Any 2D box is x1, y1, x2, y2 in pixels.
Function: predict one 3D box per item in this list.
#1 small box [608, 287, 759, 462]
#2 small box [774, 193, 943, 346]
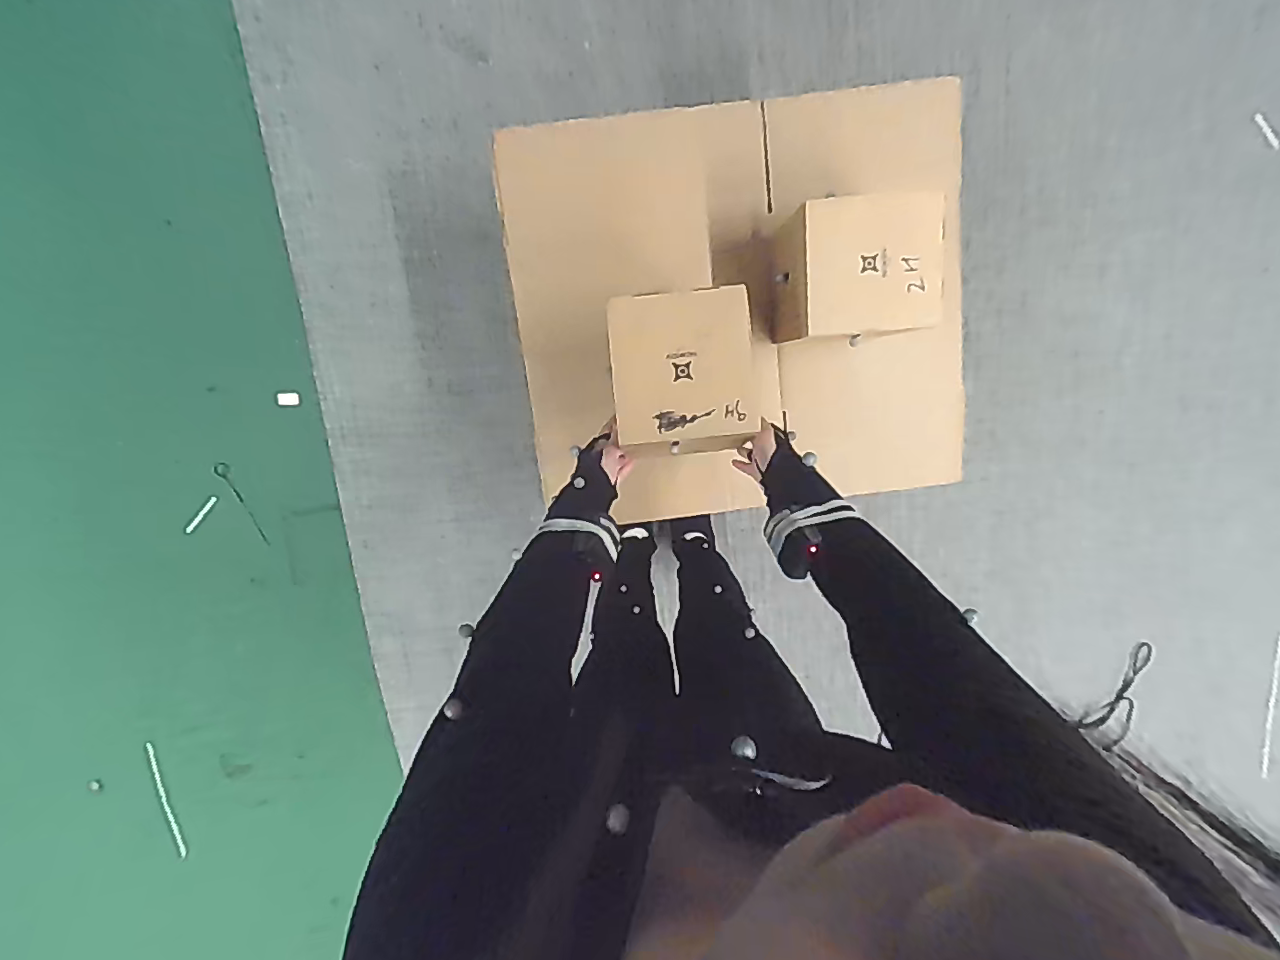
[{"bbox_3d":[0.051,-0.125,0.701,0.168,0.176,0.179,-5,85,2],"label":"small box"},{"bbox_3d":[0.289,-0.280,0.753,0.179,0.176,0.168,-4,101,0],"label":"small box"}]
